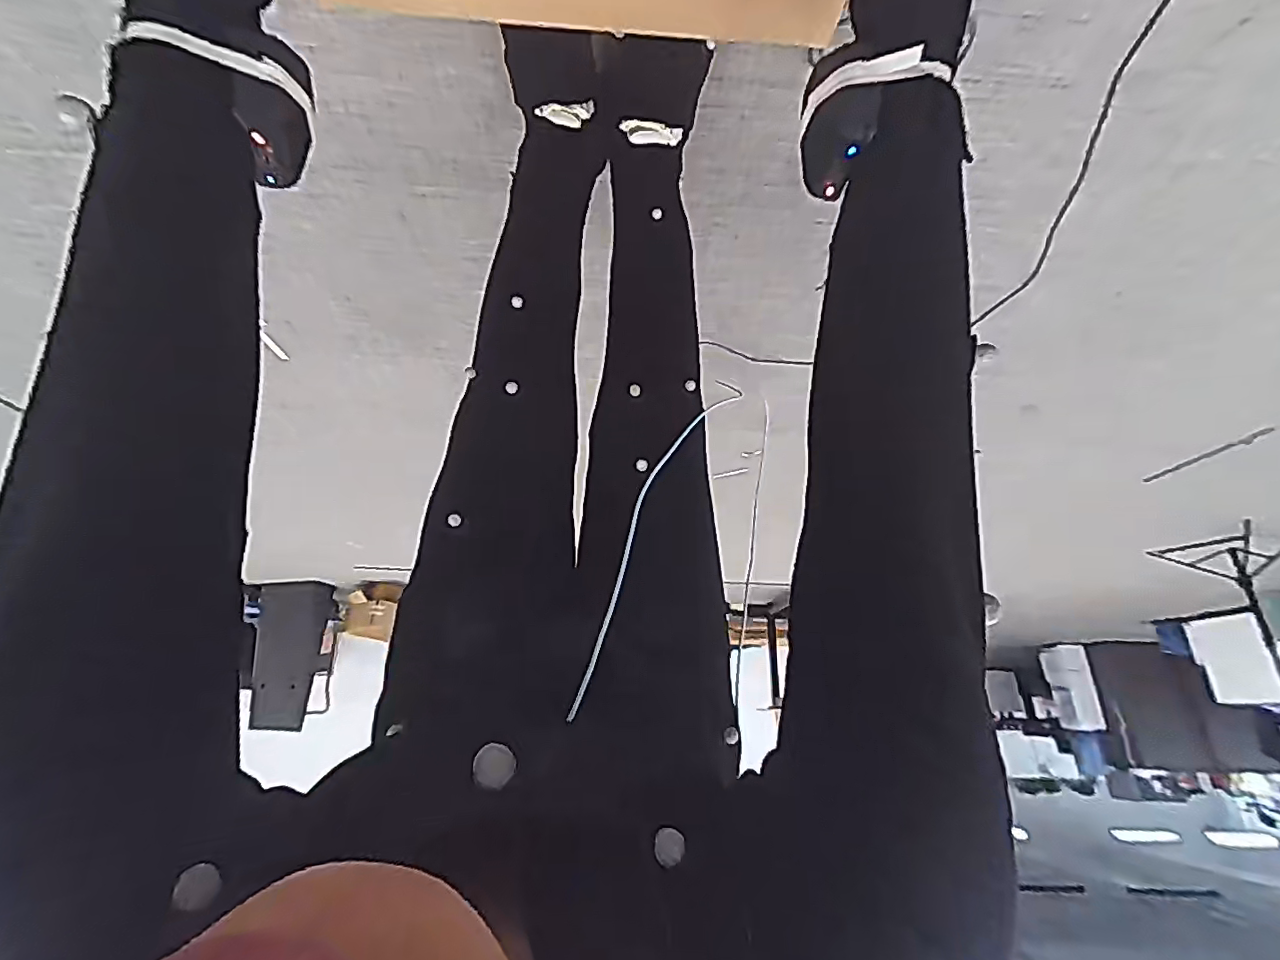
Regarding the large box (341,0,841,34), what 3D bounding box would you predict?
[{"bbox_3d":[-0.034,-0.568,0.357,0.408,0.320,0.320,2,158,-2],"label":"large box"}]
